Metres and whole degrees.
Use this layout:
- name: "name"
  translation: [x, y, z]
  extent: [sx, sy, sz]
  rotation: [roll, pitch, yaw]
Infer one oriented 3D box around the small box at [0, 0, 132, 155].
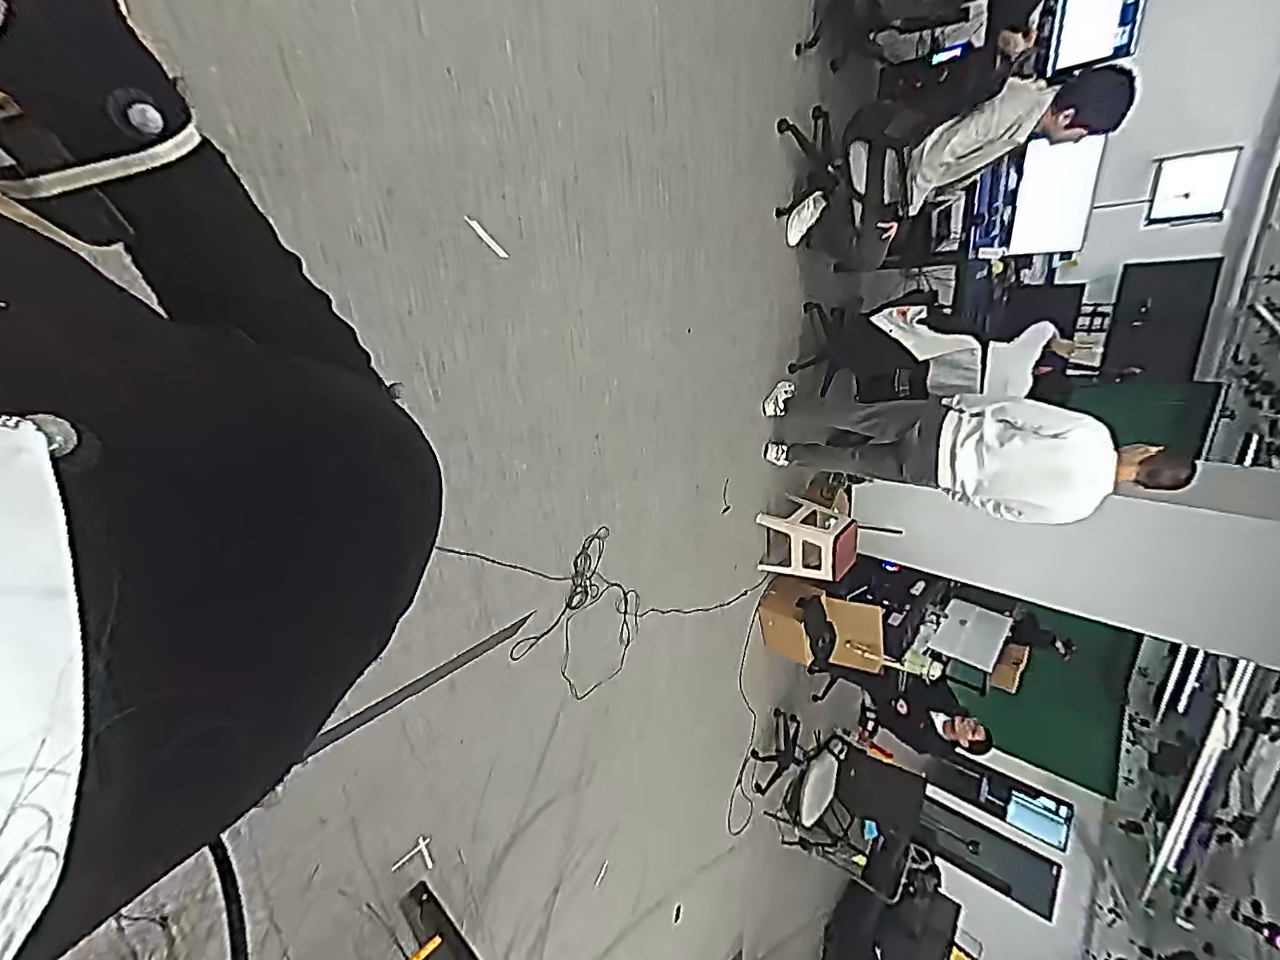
- name: "small box"
  translation: [-0.702, -0.459, 0.578]
  extent: [0.179, 0.176, 0.168]
  rotation: [-27, 122, -43]
